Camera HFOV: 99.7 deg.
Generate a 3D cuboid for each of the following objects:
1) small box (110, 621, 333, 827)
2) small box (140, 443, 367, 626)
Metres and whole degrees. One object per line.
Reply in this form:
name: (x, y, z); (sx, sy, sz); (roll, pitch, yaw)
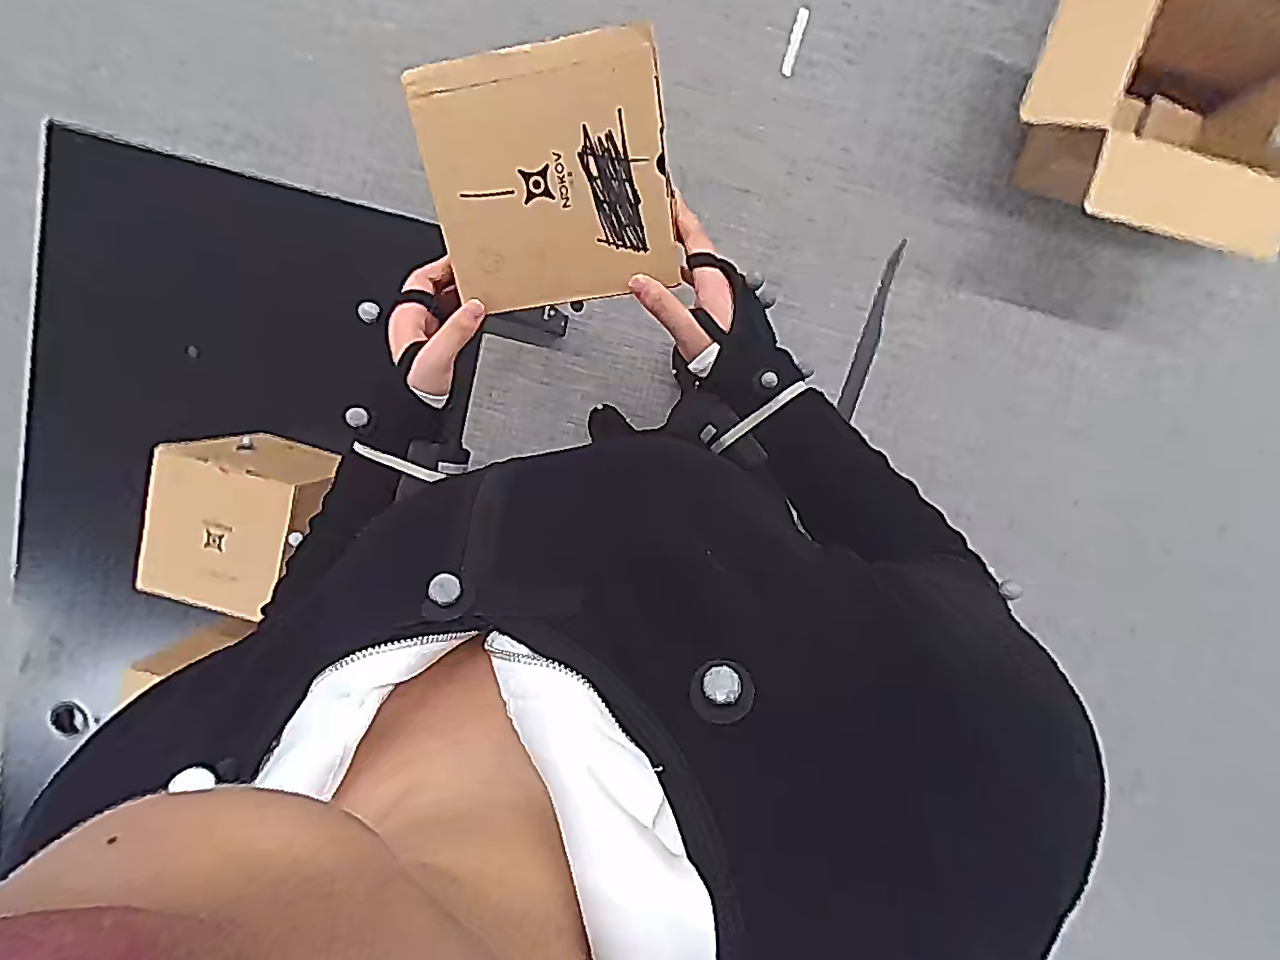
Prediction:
small box: (-0.554, 0.318, 0.740); (0.168, 0.176, 0.179); (16, 99, -1)
small box: (-0.482, 0.057, 0.699); (0.168, 0.176, 0.179); (15, 100, 0)
